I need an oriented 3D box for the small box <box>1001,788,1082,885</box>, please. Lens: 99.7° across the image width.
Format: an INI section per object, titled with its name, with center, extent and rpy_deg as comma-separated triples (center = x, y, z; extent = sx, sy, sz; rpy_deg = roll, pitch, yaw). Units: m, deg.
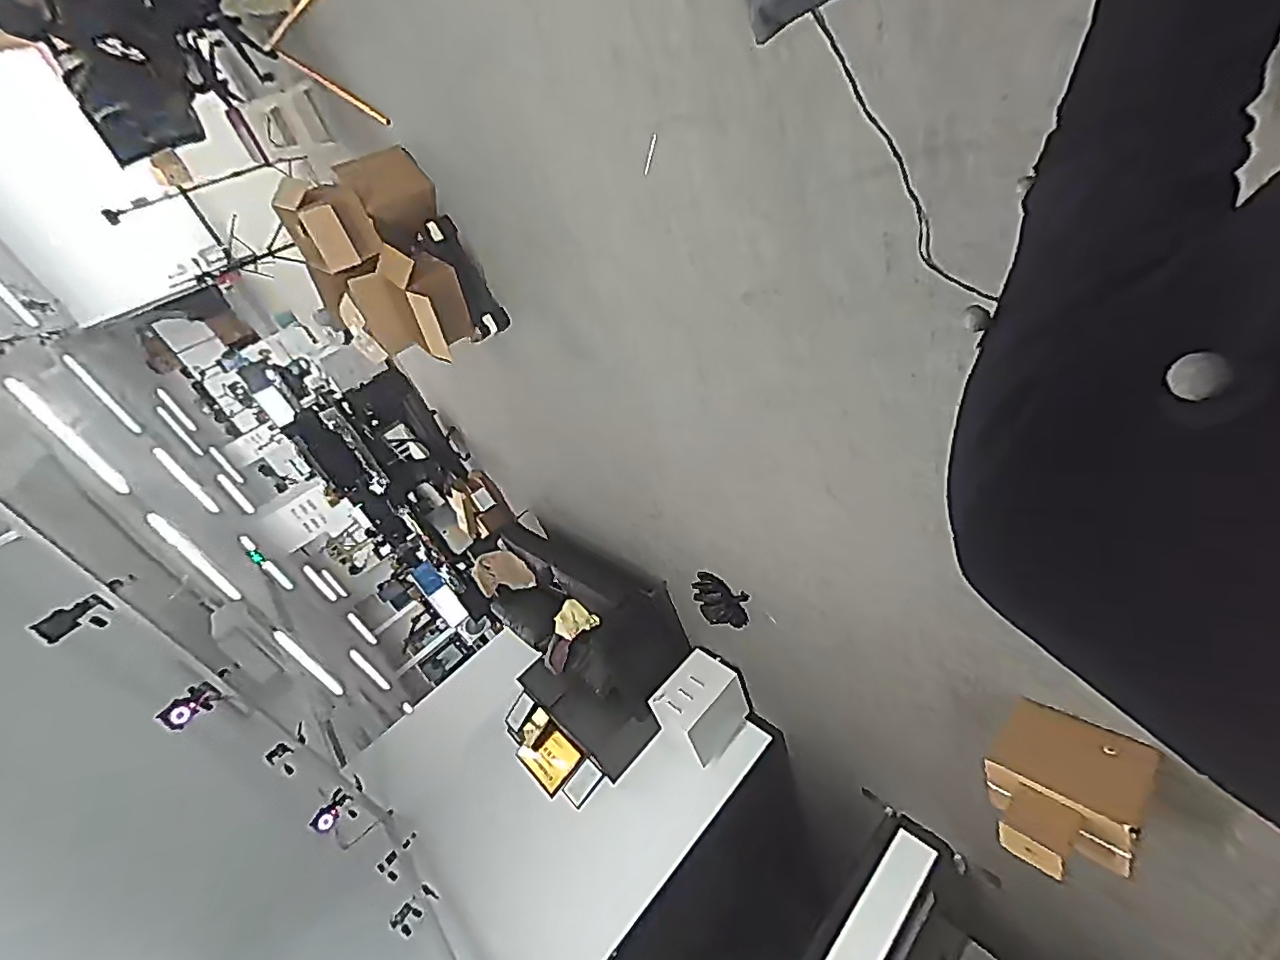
[small box]
center = 1.329, 1.169, 1.787
extent = 0.179, 0.176, 0.168
rpy_deg = 16, 136, 52
